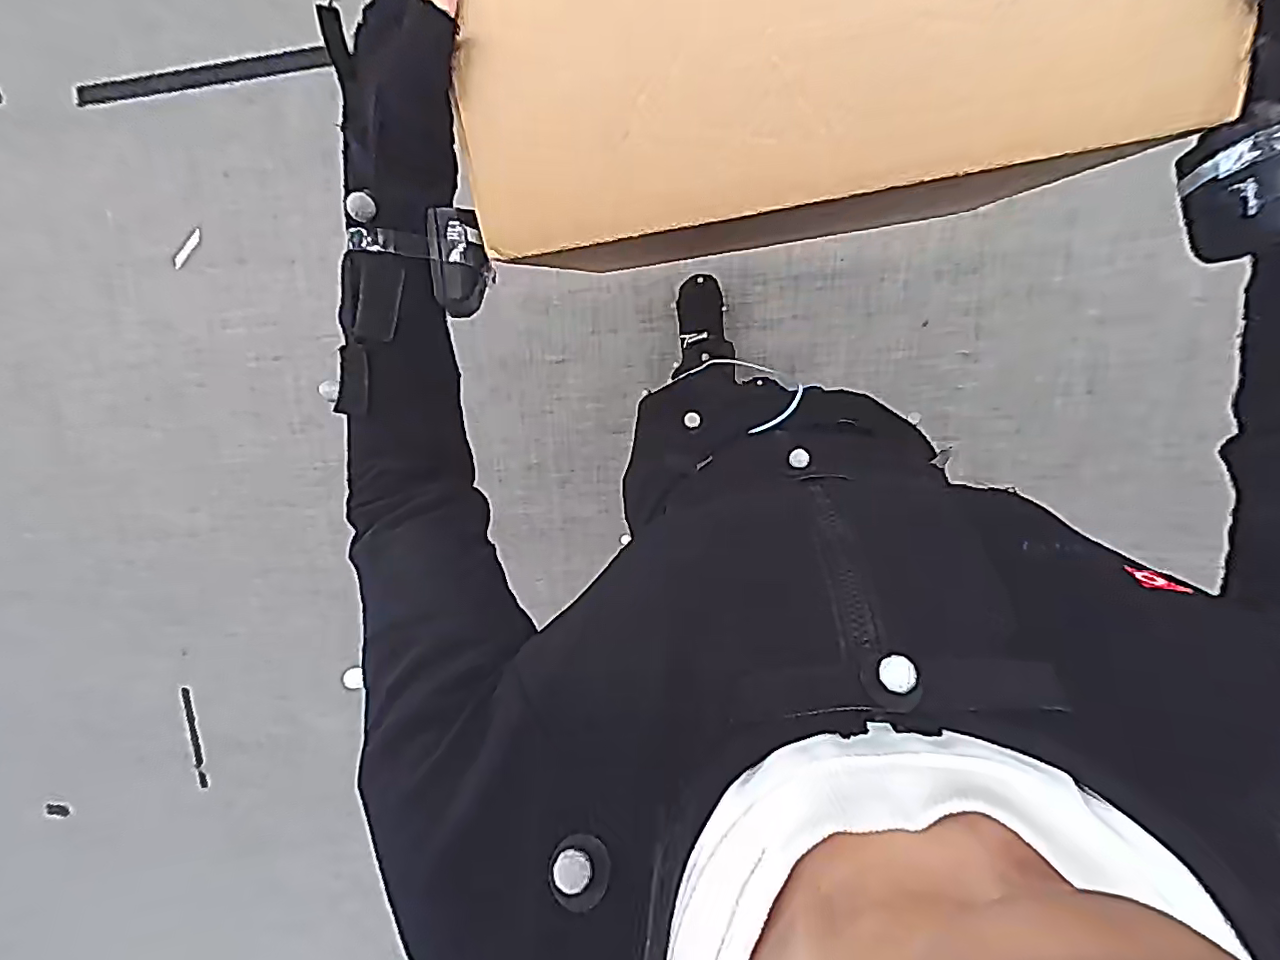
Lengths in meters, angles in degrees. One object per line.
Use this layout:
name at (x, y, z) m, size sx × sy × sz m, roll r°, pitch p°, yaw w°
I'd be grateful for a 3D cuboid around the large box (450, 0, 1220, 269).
large box at (0.099, -0.365, 0.415) m, size 0.408 × 0.320 × 0.320 m, roll -6°, pitch 109°, yaw 11°
